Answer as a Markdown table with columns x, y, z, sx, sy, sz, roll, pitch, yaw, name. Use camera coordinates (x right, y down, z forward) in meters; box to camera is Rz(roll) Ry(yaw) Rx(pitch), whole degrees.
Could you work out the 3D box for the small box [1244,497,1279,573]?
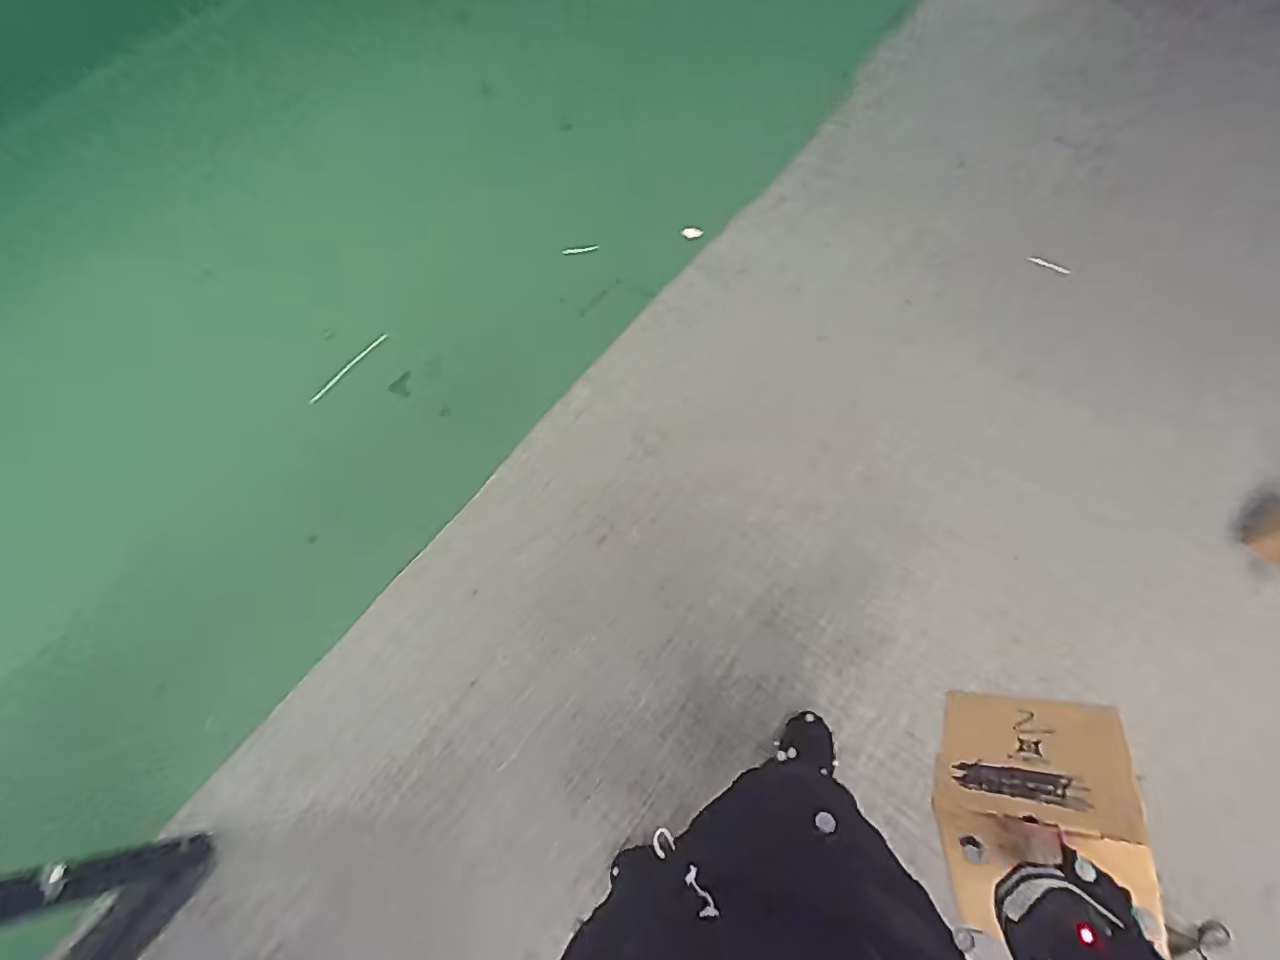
| x | y | z | sx | sy | sz | roll | pitch | yaw | name |
| --- | --- | --- | --- | --- | --- | --- | --- | --- | --- |
| 1.411 | 0.109 | 1.092 | 0.179 | 0.176 | 0.168 | -40 | 68 | -10 | small box |
